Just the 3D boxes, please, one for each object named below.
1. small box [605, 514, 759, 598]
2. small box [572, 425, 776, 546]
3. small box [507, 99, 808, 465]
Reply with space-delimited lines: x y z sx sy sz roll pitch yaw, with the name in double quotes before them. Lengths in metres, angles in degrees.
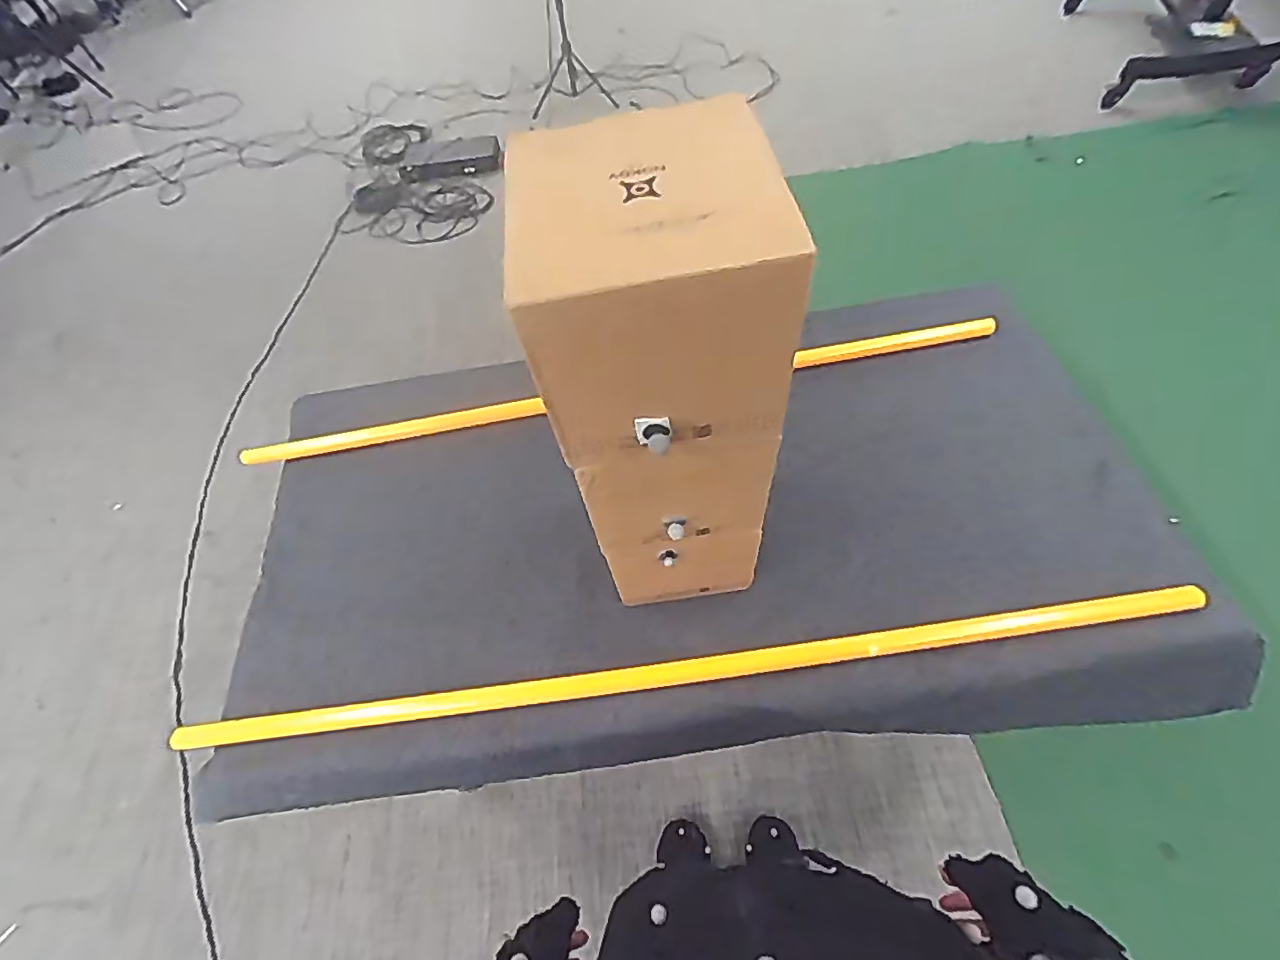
"small box" 0.044 0.029 0.678 0.168 0.176 0.179 -9 58 2
"small box" 0.025 -0.055 0.538 0.168 0.176 0.179 -9 59 1
"small box" 0.008 -0.136 0.399 0.168 0.176 0.179 -10 59 2
